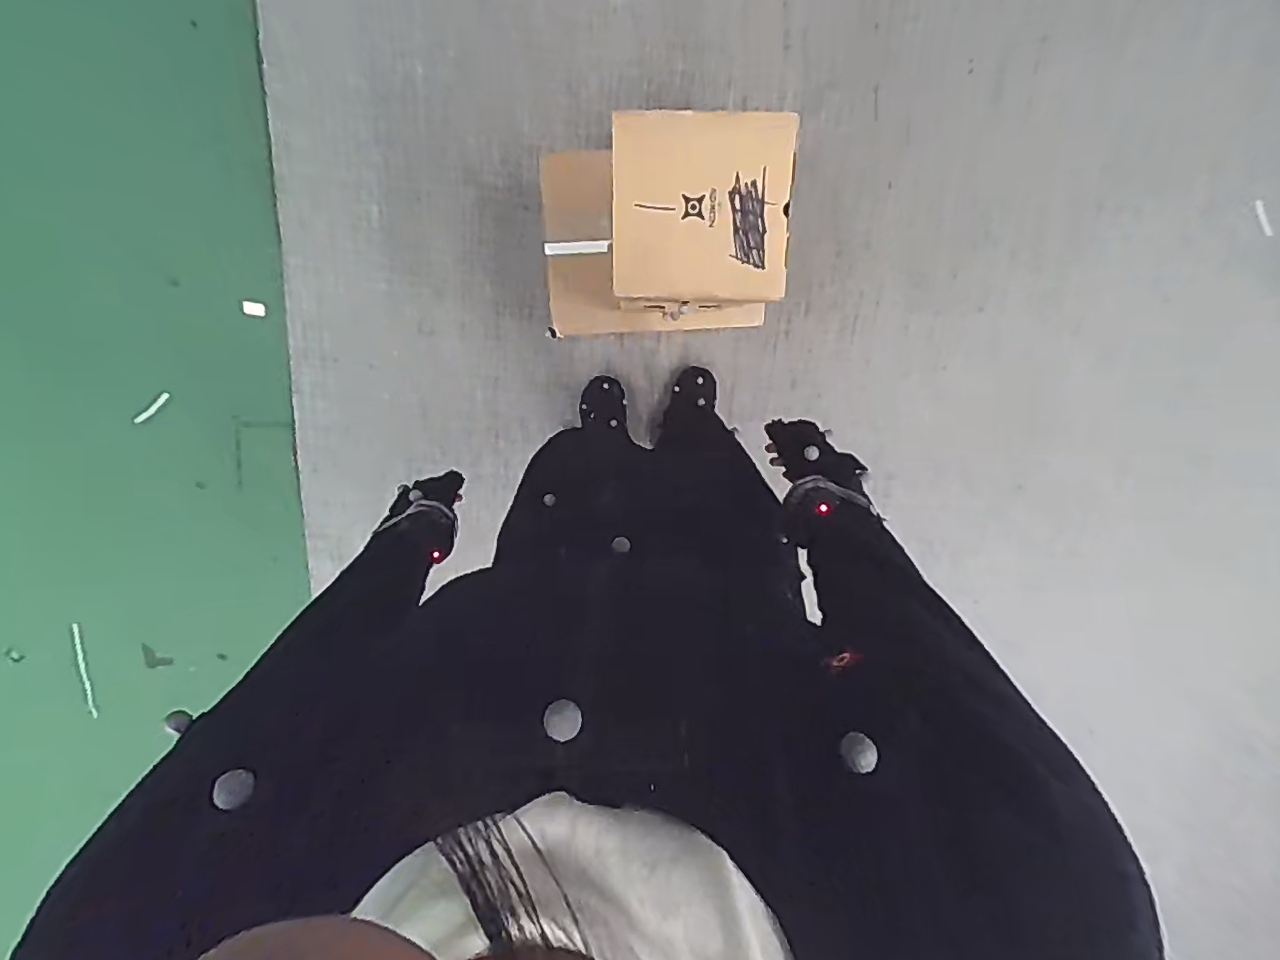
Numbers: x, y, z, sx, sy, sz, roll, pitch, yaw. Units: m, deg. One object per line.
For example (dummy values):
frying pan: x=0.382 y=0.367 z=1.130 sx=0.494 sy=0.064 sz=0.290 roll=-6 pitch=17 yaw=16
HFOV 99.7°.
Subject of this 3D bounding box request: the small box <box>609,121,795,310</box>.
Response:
small box: x=0.056 y=-0.278 z=0.599 sx=0.179 sy=0.176 sz=0.168 roll=-3 pitch=107 yaw=-1
